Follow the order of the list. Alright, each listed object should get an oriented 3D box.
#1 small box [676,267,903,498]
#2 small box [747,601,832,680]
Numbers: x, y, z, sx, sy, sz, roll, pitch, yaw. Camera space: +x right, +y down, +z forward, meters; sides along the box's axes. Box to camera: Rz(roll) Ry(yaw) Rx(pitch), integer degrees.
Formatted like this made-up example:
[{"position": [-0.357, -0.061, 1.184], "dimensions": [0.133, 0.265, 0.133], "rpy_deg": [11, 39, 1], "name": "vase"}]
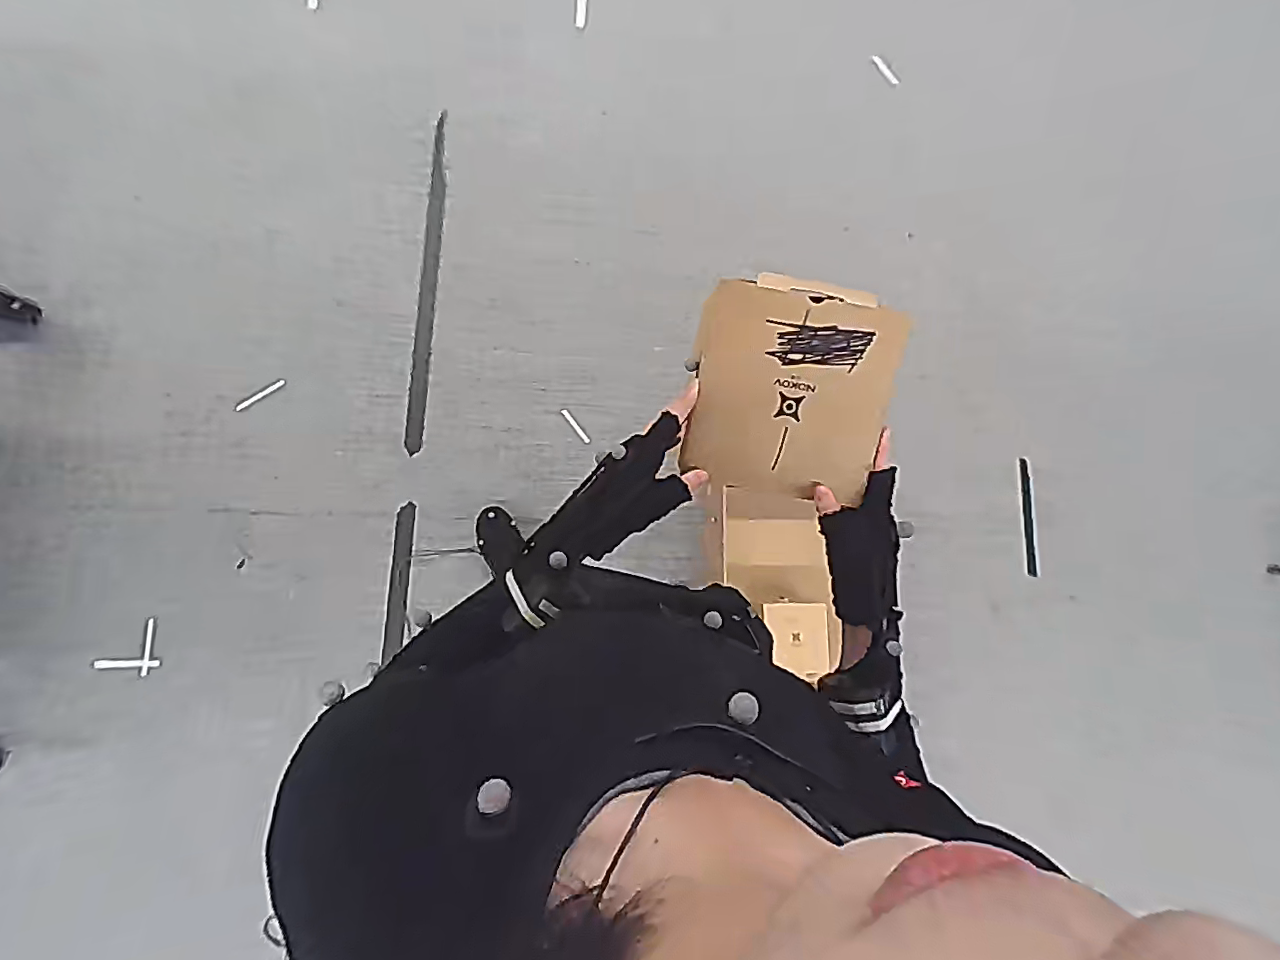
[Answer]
[{"position": [0.129, -0.094, 0.541], "dimensions": [0.168, 0.176, 0.179], "rpy_deg": [9, 100, 1], "name": "small box"}, {"position": [0.383, 0.411, 1.407], "dimensions": [0.168, 0.176, 0.179], "rpy_deg": [1, 81, -6], "name": "small box"}]
